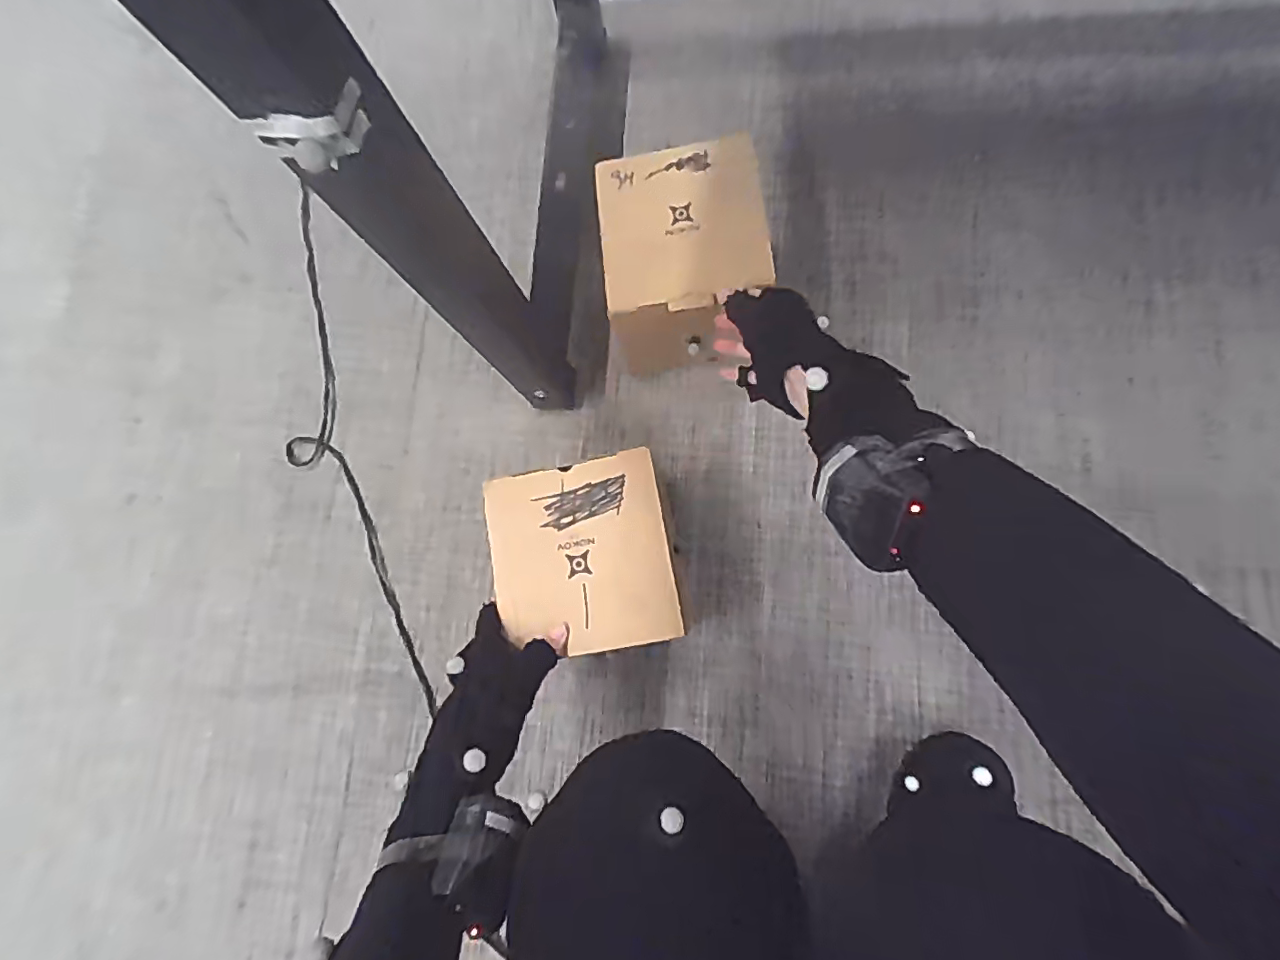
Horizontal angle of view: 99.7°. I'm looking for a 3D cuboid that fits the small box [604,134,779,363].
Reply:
[{"bbox_3d":[0.058,-0.244,0.617,0.168,0.176,0.179,-5,80,5],"label":"small box"}]
